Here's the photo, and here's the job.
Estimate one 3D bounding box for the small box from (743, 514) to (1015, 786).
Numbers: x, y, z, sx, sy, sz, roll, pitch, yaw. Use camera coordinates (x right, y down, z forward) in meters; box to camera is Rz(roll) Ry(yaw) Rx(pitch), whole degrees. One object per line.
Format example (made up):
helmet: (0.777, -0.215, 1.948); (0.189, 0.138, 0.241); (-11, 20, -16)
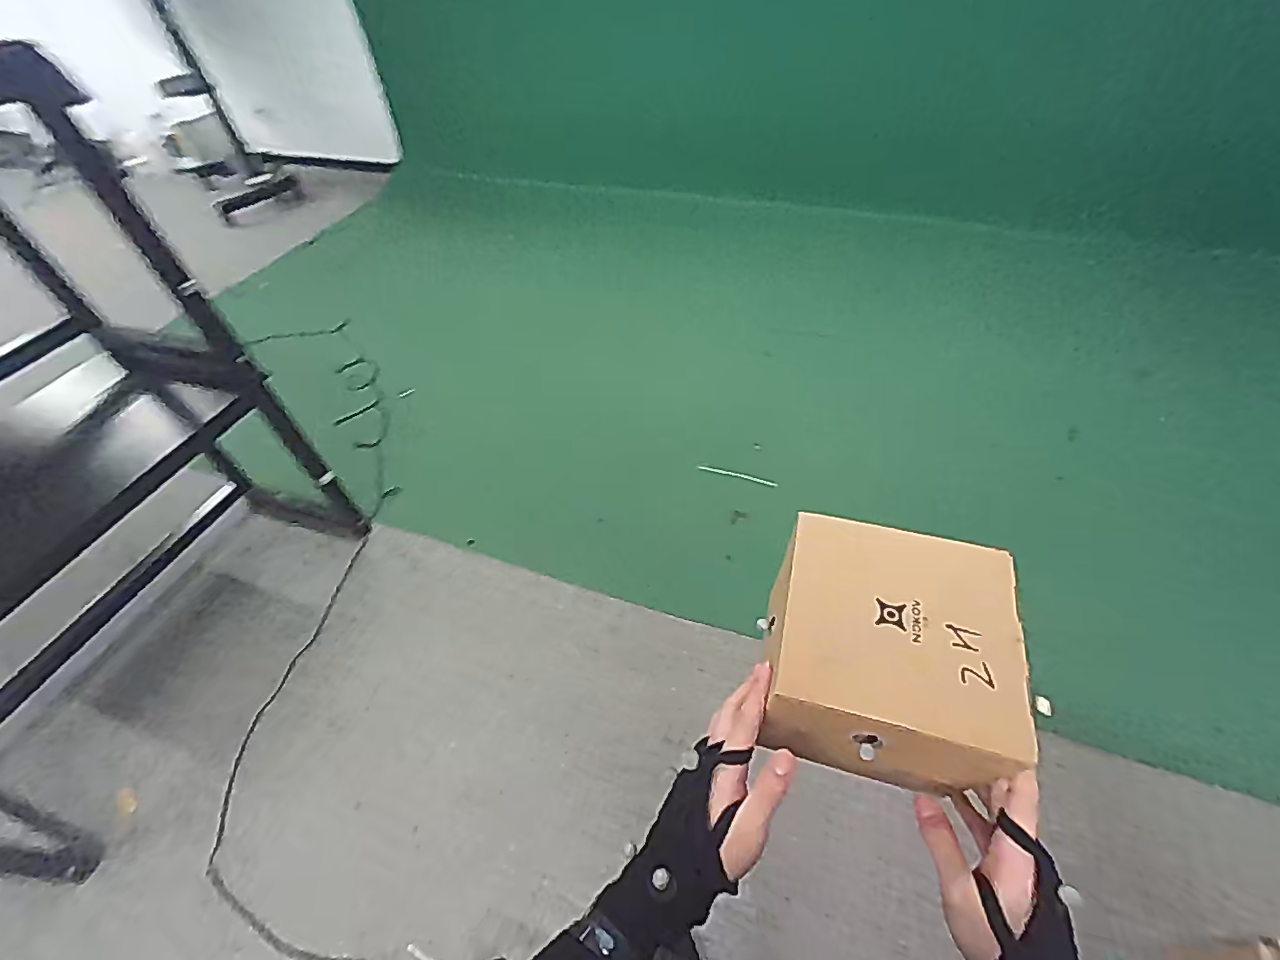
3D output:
small box: (0.195, 0.156, 0.487); (0.179, 0.176, 0.168); (11, 55, 12)
